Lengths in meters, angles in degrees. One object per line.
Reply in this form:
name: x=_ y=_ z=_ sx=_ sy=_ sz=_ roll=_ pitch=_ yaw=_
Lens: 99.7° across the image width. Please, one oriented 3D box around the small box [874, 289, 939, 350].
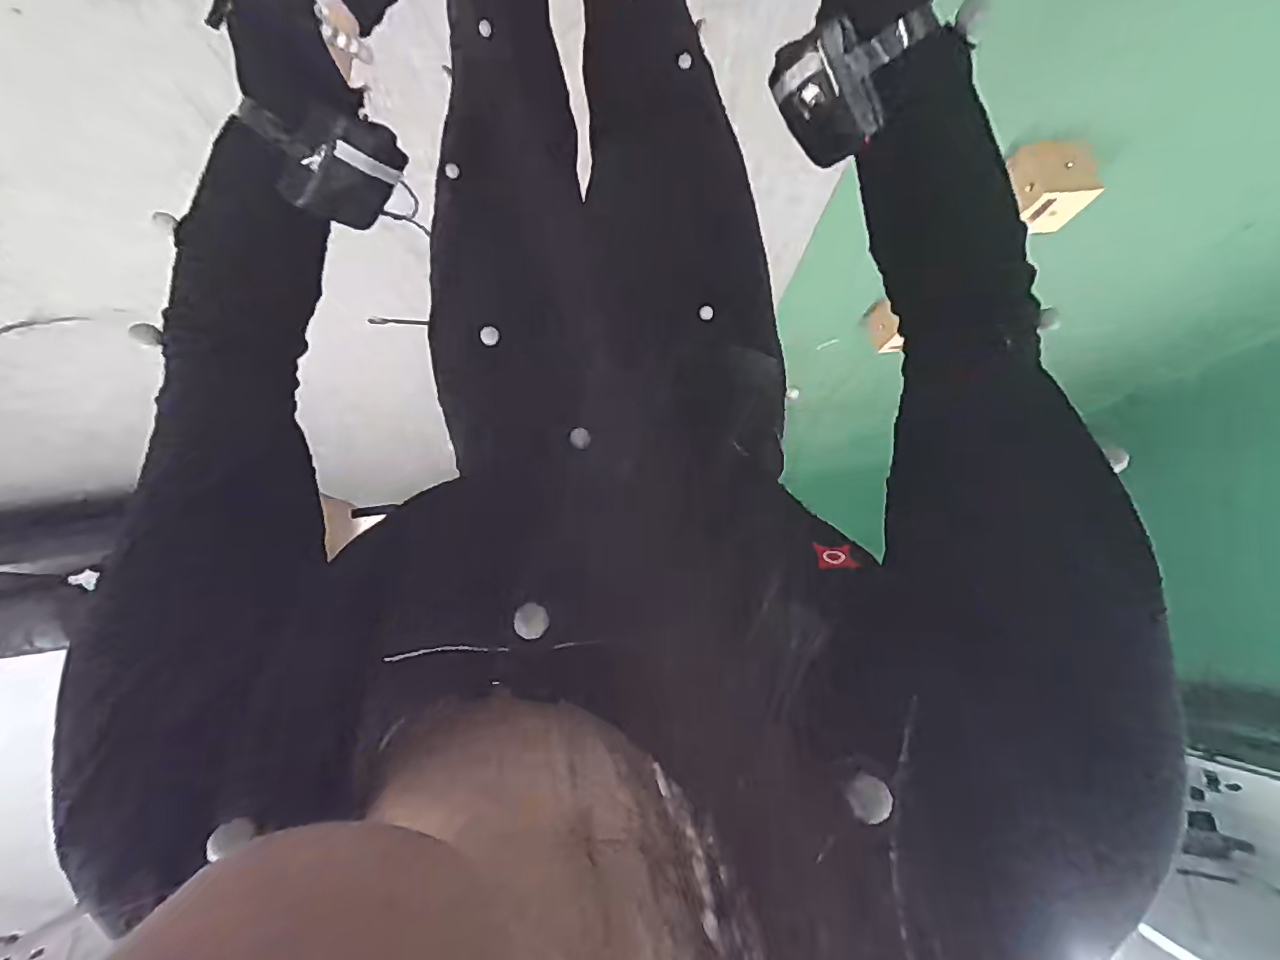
small box: x=1.072 y=-0.649 z=2.190 sx=0.168 sy=0.176 sz=0.179 roll=-7 pitch=167 yaw=-4
